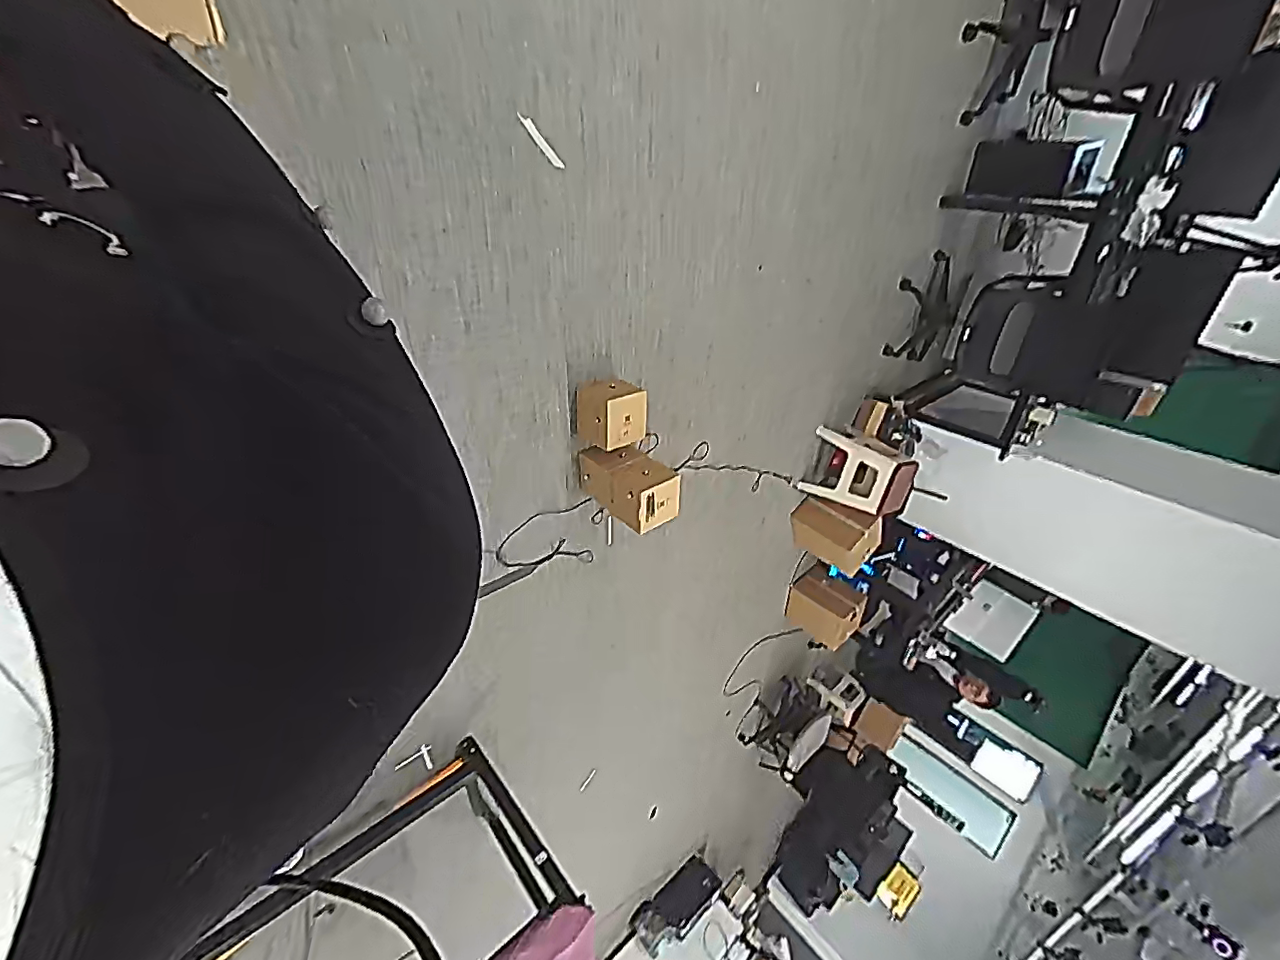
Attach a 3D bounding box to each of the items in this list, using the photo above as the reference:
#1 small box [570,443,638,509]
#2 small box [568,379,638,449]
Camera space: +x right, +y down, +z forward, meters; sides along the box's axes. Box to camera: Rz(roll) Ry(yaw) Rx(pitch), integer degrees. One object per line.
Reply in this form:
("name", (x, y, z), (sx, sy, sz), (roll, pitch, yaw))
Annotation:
("small box", (-0.126, -0.030, 1.907), (0.179, 0.176, 0.168), (-24, 130, -34))
("small box", (-0.126, -0.226, 1.779), (0.168, 0.176, 0.179), (-21, 127, -37))
